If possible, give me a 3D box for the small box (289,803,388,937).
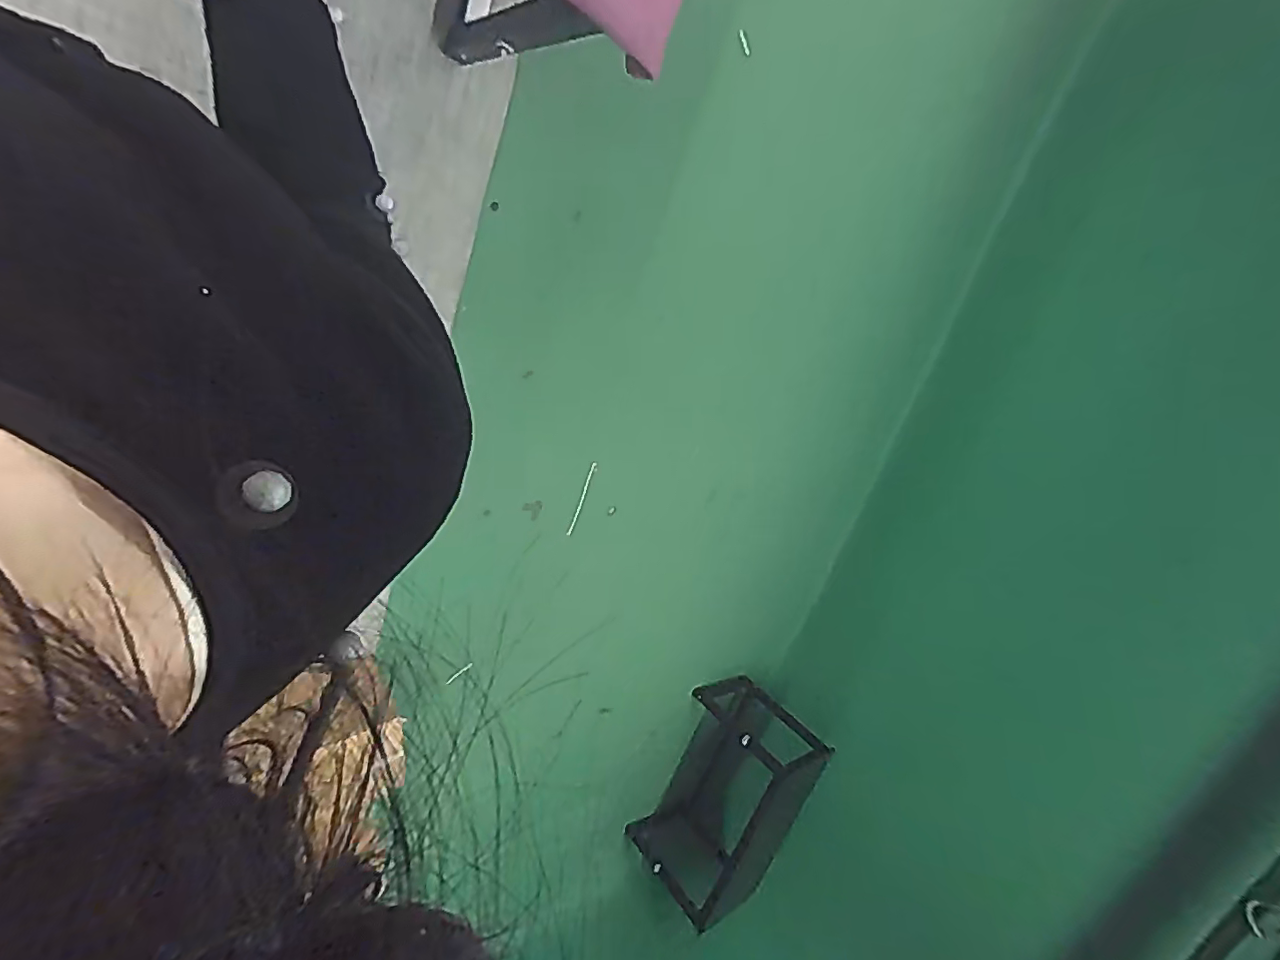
[{"bbox_3d":[-0.743,0.945,1.329,0.179,0.176,0.168,-4,117,-41],"label":"small box"}]

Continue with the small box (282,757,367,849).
[{"bbox_3d":[-0.840,0.872,1.436,0.168,0.176,0.179,-6,118,-41],"label":"small box"}]

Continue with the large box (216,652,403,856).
[{"bbox_3d":[-0.981,0.794,1.627,0.408,0.320,0.320,-13,124,-40],"label":"large box"}]
